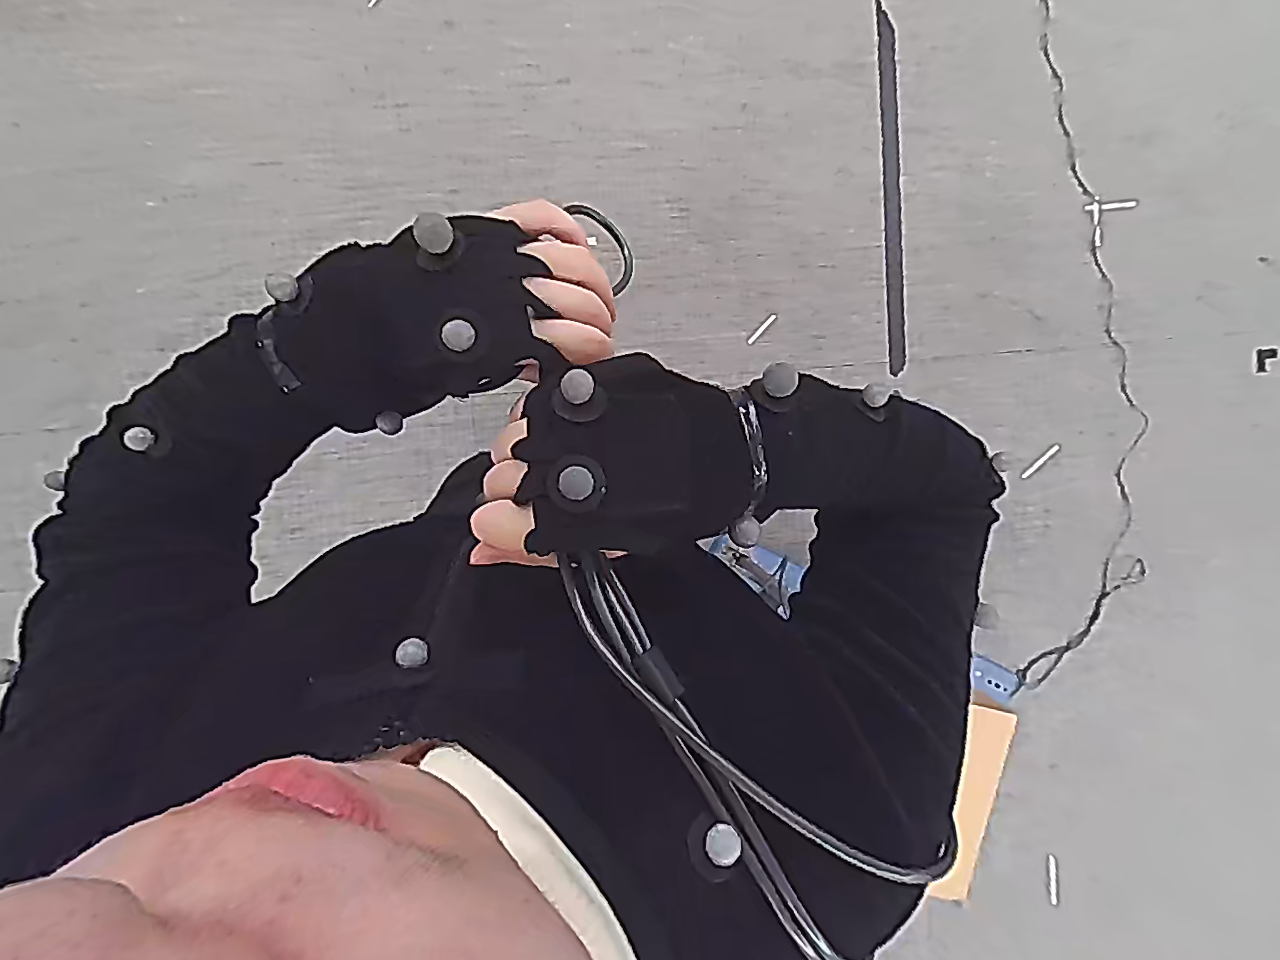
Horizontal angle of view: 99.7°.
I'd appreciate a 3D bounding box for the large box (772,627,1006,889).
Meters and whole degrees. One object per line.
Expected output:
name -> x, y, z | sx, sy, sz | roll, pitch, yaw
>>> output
large box -> 0.536, 0.601, 1.233 | 0.320, 0.320, 0.408 | 15, 93, -3
